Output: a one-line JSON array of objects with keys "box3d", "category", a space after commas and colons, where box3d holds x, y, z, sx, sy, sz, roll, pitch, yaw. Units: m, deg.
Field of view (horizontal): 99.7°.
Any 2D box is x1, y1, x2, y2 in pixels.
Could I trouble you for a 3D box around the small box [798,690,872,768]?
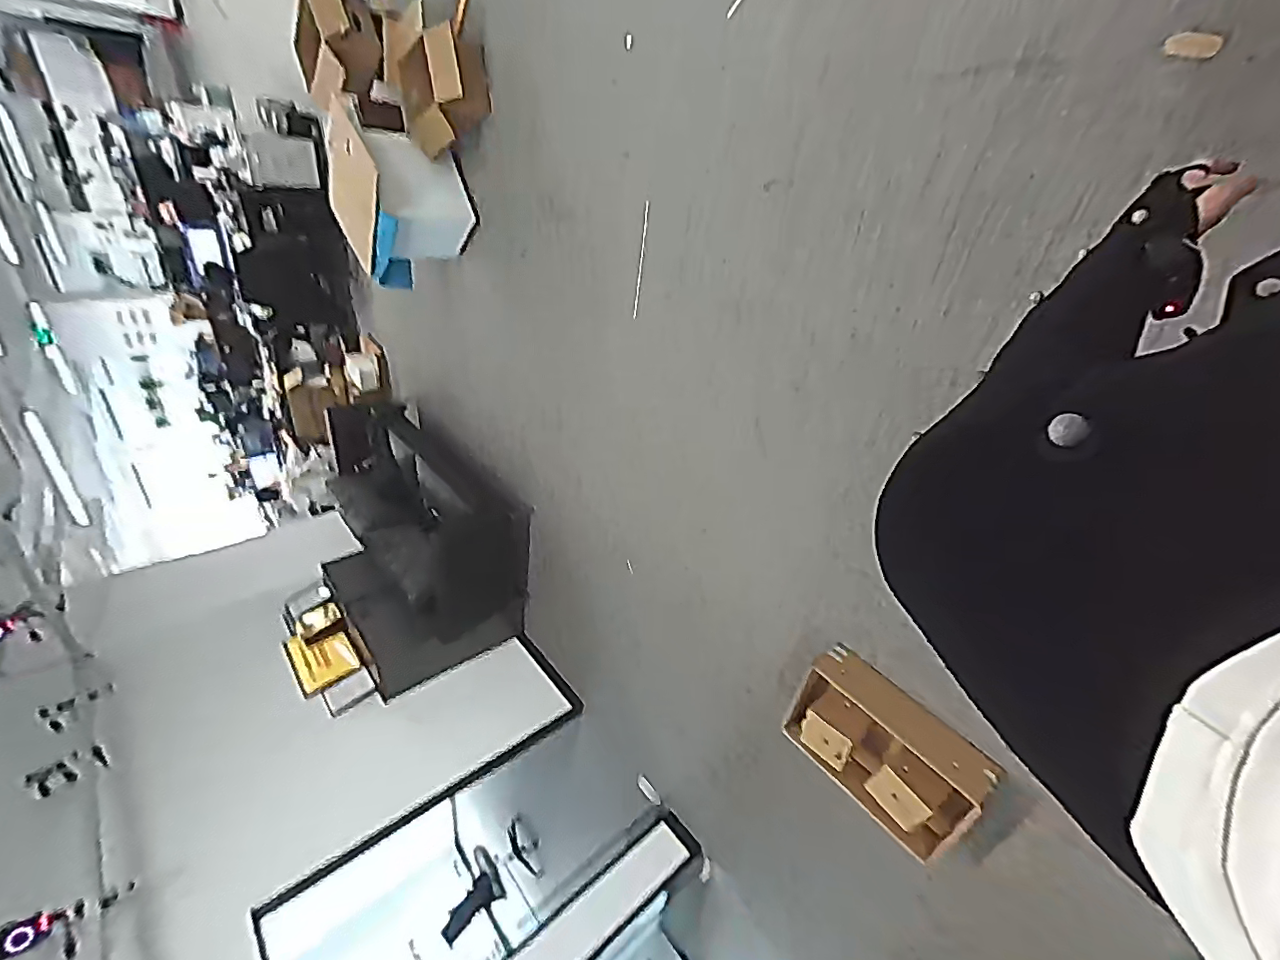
[{"box3d": [0.721, 0.910, 1.999, 0.179, 0.176, 0.168, 32, 128, 39], "category": "small box"}]
